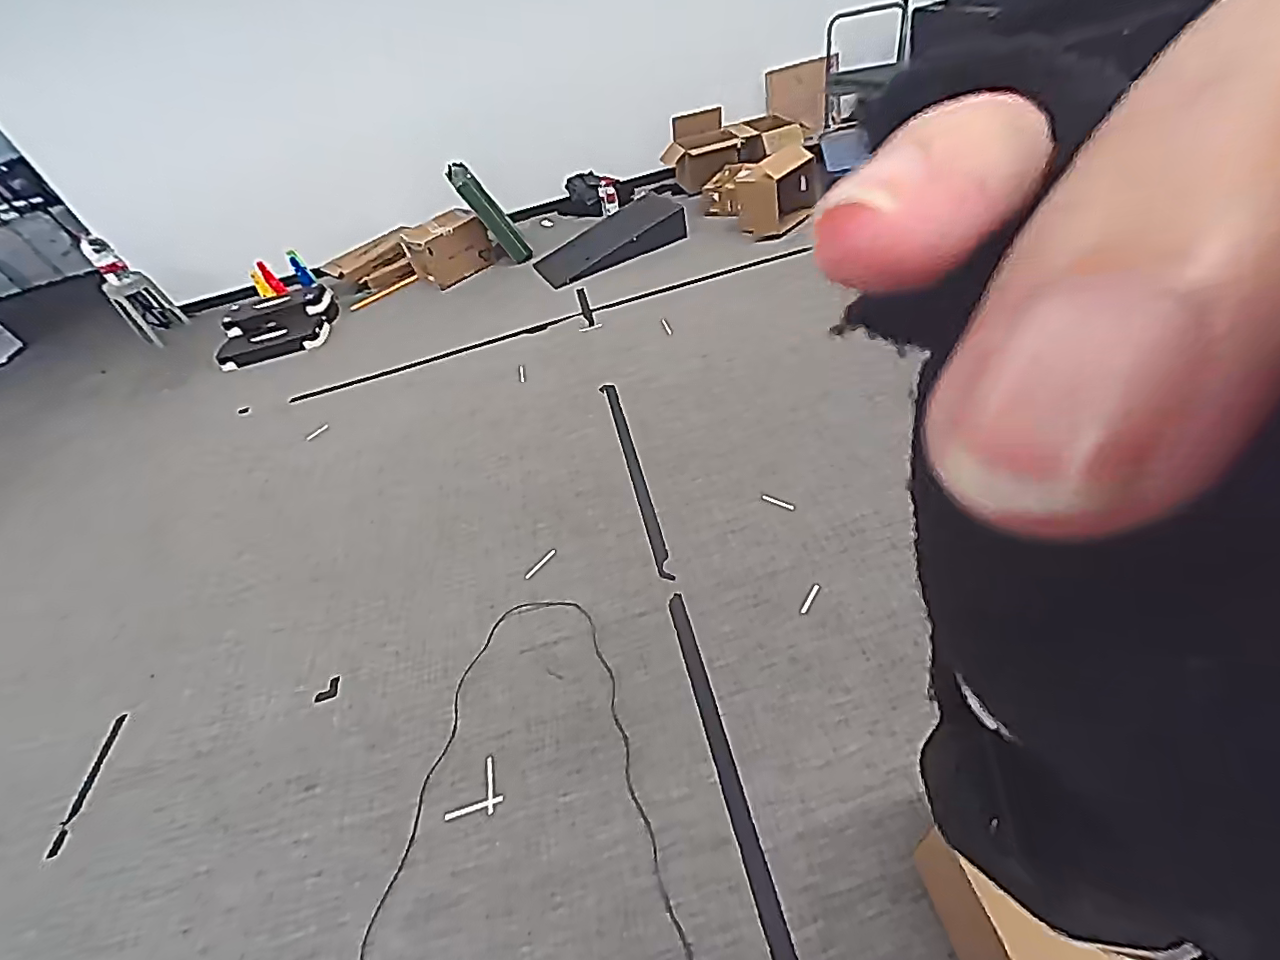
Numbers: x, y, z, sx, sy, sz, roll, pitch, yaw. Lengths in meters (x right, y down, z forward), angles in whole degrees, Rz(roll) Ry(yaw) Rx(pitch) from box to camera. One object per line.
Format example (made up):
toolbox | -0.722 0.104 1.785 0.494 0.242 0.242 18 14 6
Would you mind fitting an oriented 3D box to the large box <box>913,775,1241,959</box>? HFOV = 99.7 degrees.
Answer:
large box | 0.738 0.802 0.920 0.320 0.320 0.408 -15 43 -2
